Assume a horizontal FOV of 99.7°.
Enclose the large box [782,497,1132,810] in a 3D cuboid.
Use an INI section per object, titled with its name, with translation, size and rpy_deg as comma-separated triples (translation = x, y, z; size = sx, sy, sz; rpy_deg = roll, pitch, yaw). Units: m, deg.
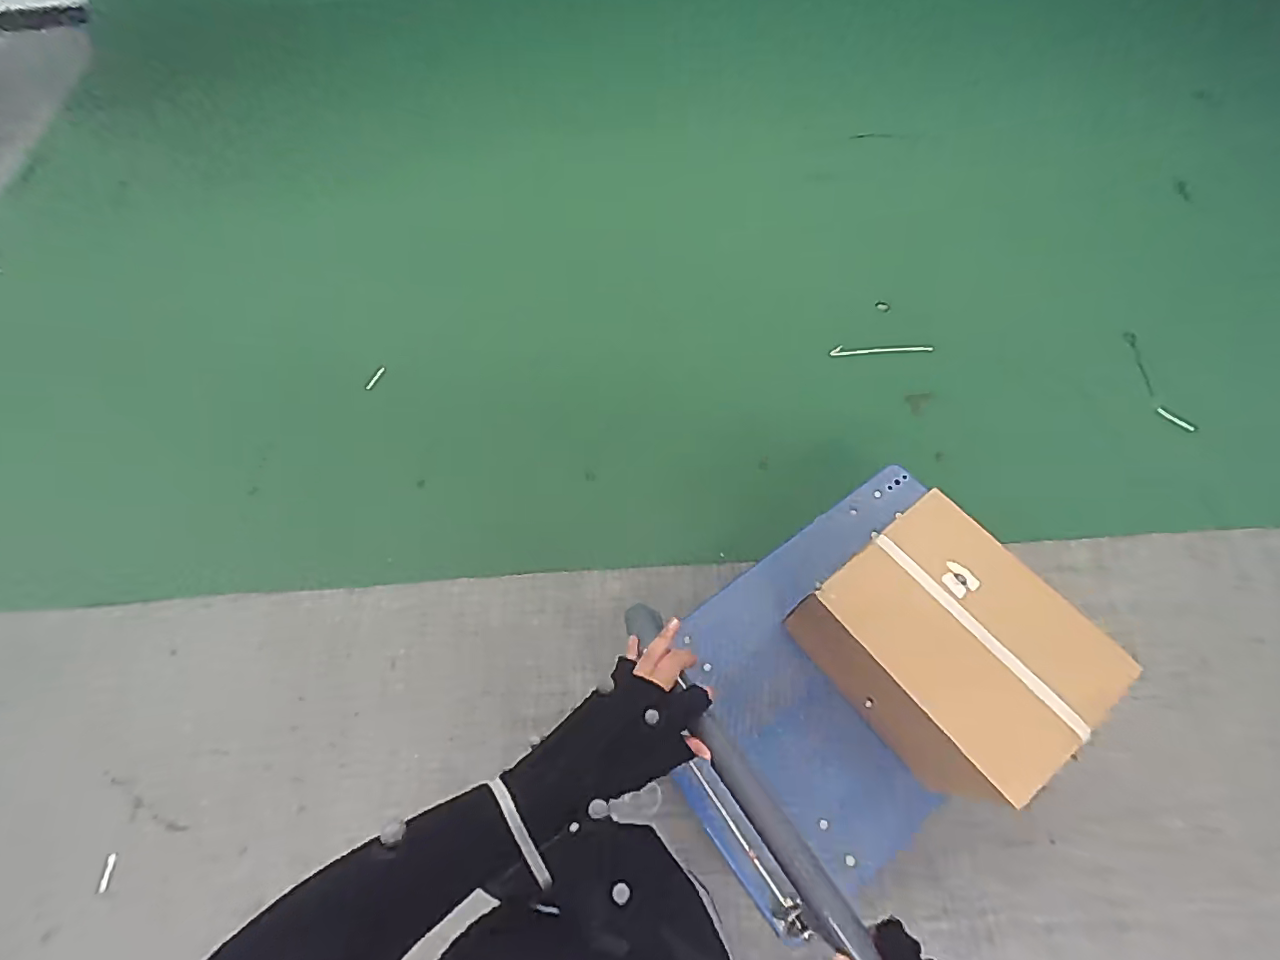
[large box]
translation = 0.533, 0.315, 1.007
size = 0.320, 0.320, 0.408
rpy_deg = -35, 66, -13
